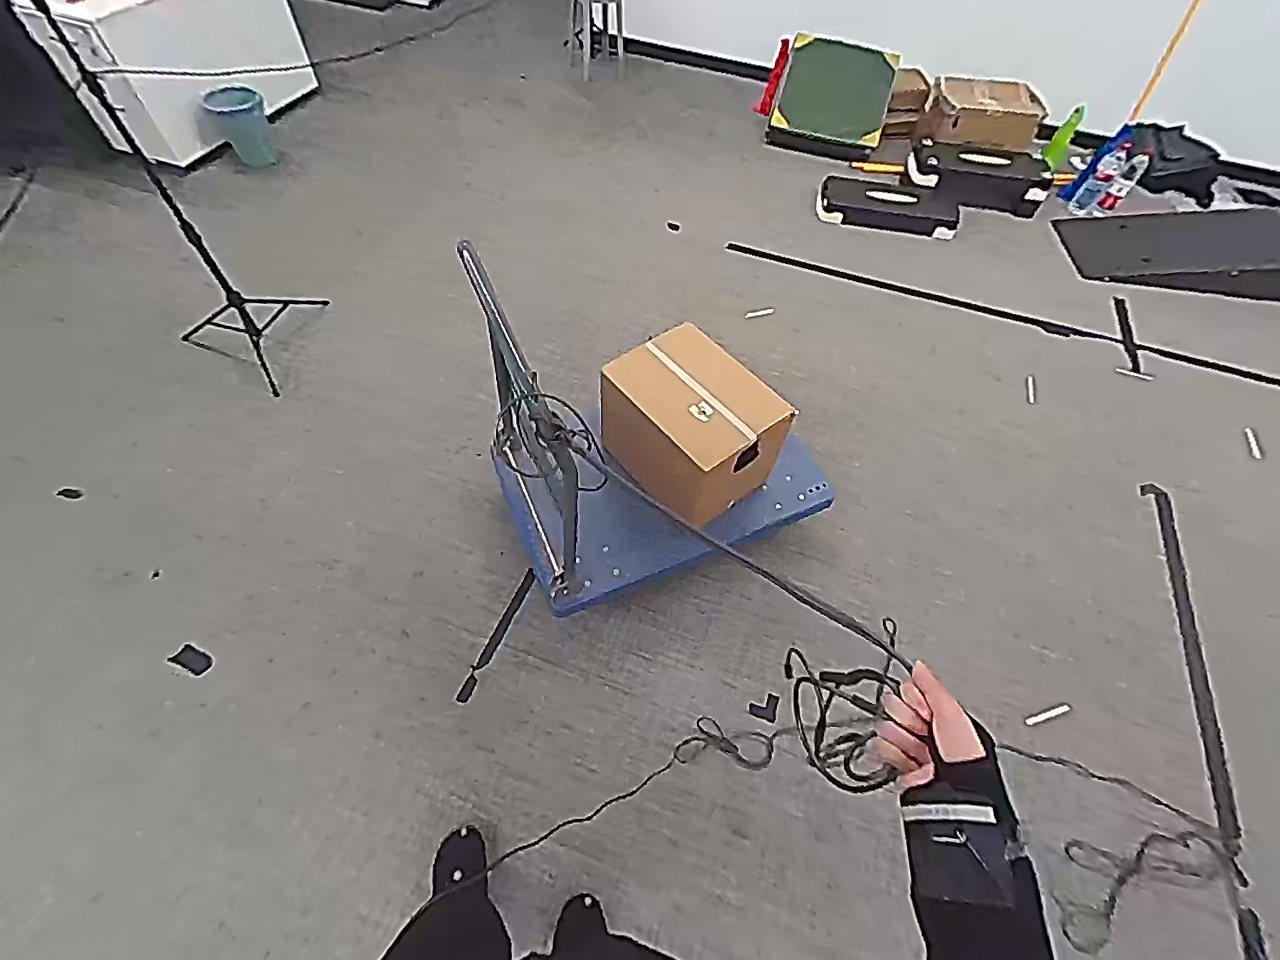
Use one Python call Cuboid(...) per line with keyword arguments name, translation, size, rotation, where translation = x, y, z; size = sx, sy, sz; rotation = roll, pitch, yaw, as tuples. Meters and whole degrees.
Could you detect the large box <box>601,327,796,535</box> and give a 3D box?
Cuboid(name="large box", translation=(0.132, -0.134, 1.463), size=(0.320, 0.320, 0.408), rotation=(-34, 65, -22))
